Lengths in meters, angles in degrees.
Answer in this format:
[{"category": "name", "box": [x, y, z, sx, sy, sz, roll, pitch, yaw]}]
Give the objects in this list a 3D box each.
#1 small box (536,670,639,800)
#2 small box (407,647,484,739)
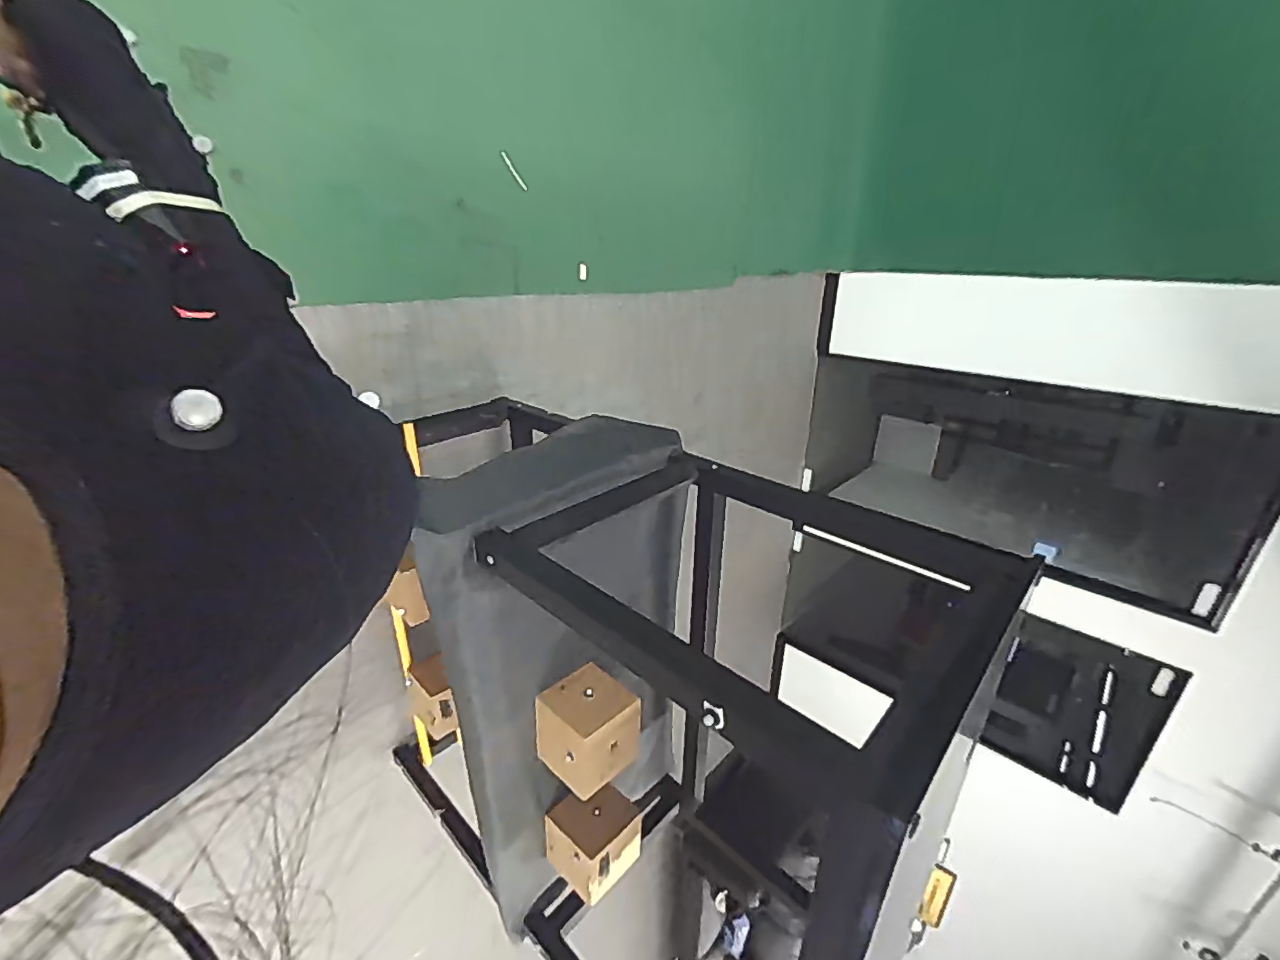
[{"category": "small box", "box": [-0.120, 0.553, 1.207, 0.168, 0.176, 0.179, -19, 120, -44]}, {"category": "small box", "box": [-0.608, 0.654, 1.680, 0.179, 0.176, 0.168, -19, 120, -44]}]
